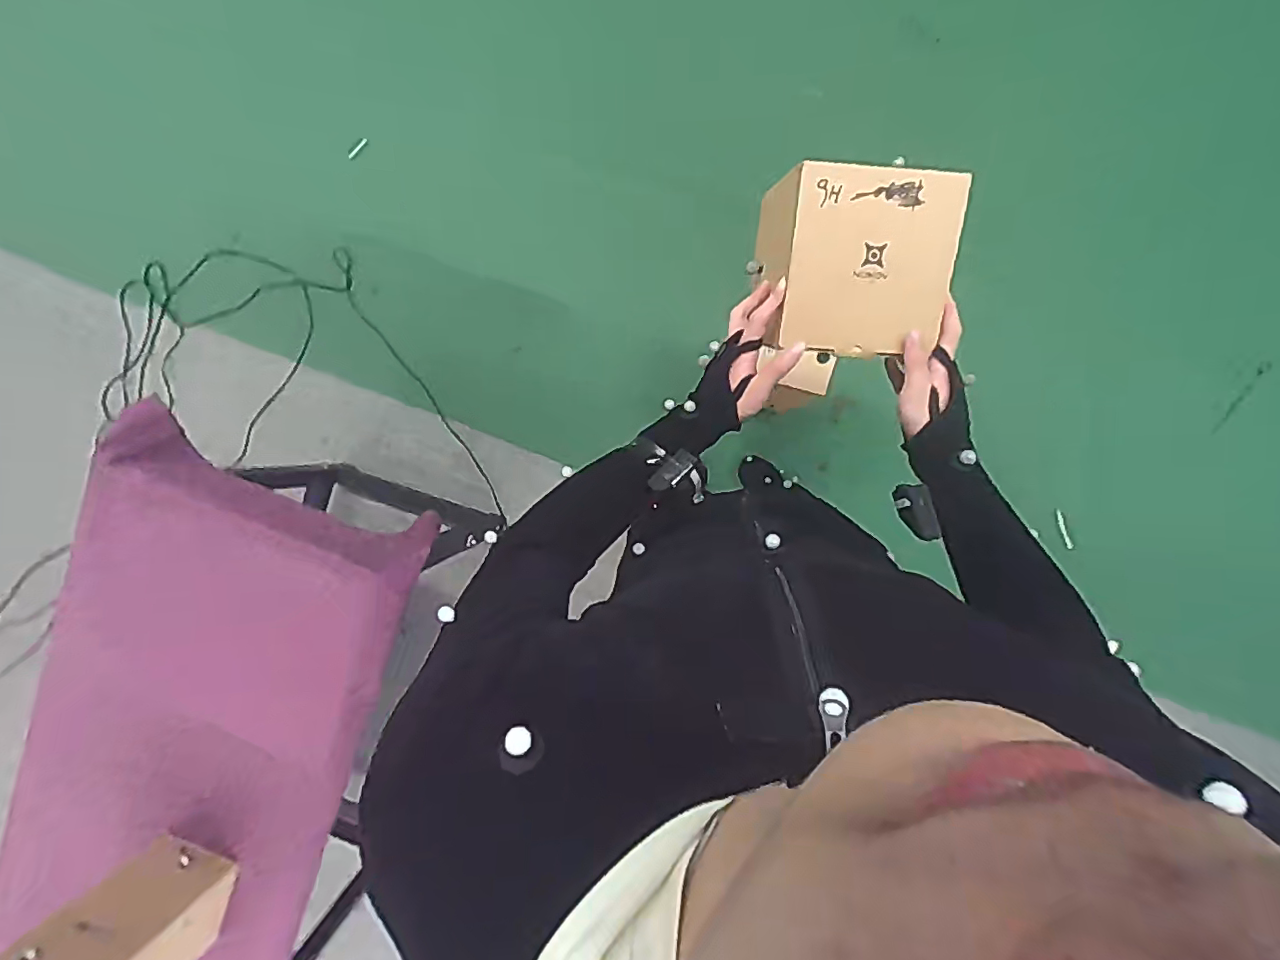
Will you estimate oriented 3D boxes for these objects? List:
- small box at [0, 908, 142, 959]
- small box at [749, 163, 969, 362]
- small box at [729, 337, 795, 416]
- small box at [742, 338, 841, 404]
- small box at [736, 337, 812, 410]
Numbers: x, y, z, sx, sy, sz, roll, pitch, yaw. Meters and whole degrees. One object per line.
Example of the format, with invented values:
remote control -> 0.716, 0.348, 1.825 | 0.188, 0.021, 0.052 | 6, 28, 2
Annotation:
small box -> -0.909, 0.804, 0.808 | 0.168, 0.176, 0.179 | 20, 95, 5
small box -> 0.225, -0.234, 0.610 | 0.168, 0.176, 0.179 | 3, 107, -2
small box -> 0.362, -0.284, 1.510 | 0.179, 0.176, 0.168 | 21, 95, 5
small box -> 0.332, -0.270, 1.186 | 0.179, 0.176, 0.168 | 17, 95, 4
small box -> 0.351, -0.276, 1.349 | 0.179, 0.176, 0.168 | 19, 95, 5
